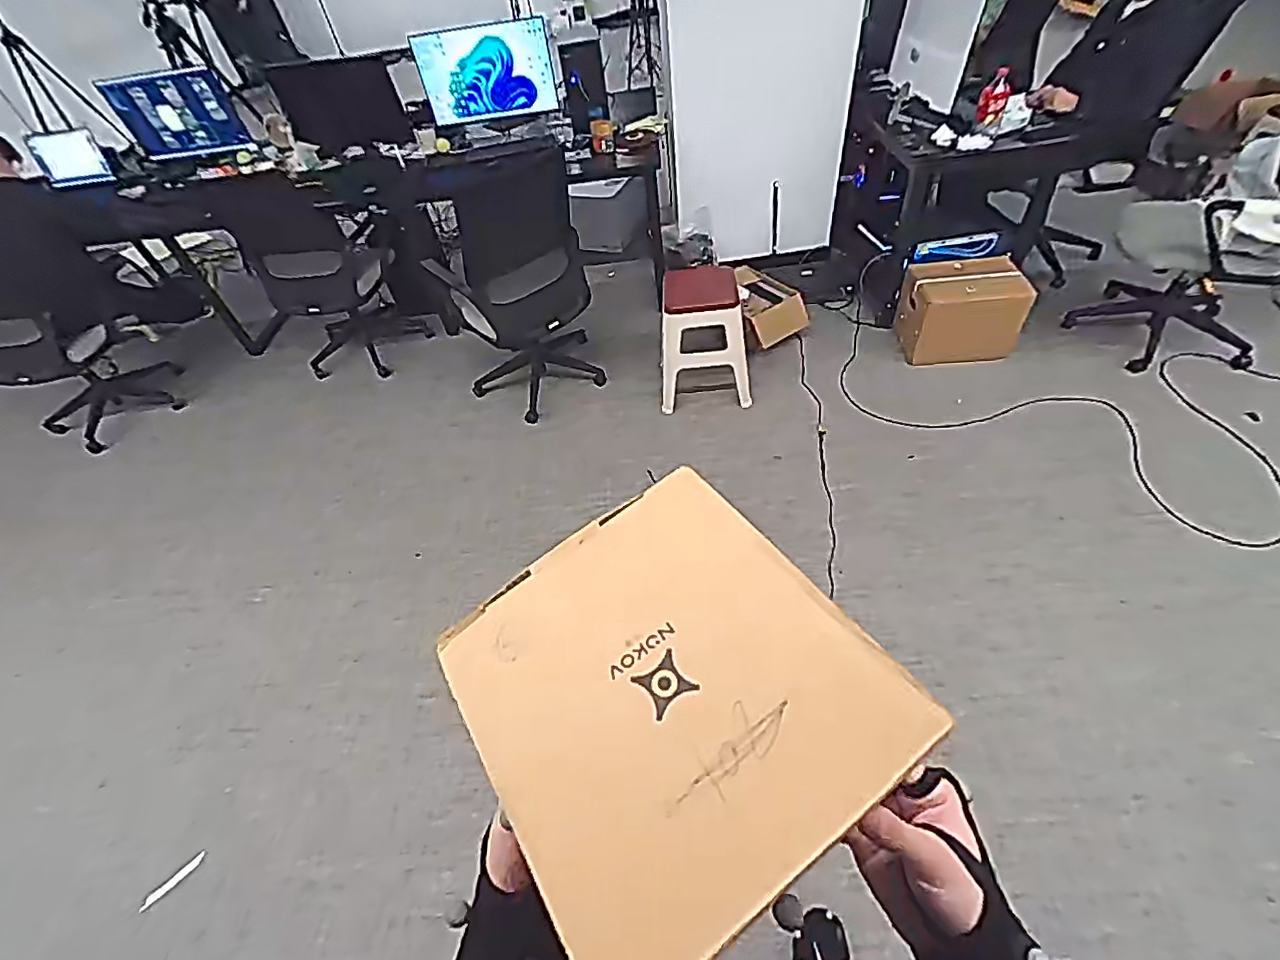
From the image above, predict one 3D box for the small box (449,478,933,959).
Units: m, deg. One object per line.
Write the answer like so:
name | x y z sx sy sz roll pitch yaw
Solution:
small box | 0.024 0.139 0.318 0.168 0.176 0.179 -34 55 -12
